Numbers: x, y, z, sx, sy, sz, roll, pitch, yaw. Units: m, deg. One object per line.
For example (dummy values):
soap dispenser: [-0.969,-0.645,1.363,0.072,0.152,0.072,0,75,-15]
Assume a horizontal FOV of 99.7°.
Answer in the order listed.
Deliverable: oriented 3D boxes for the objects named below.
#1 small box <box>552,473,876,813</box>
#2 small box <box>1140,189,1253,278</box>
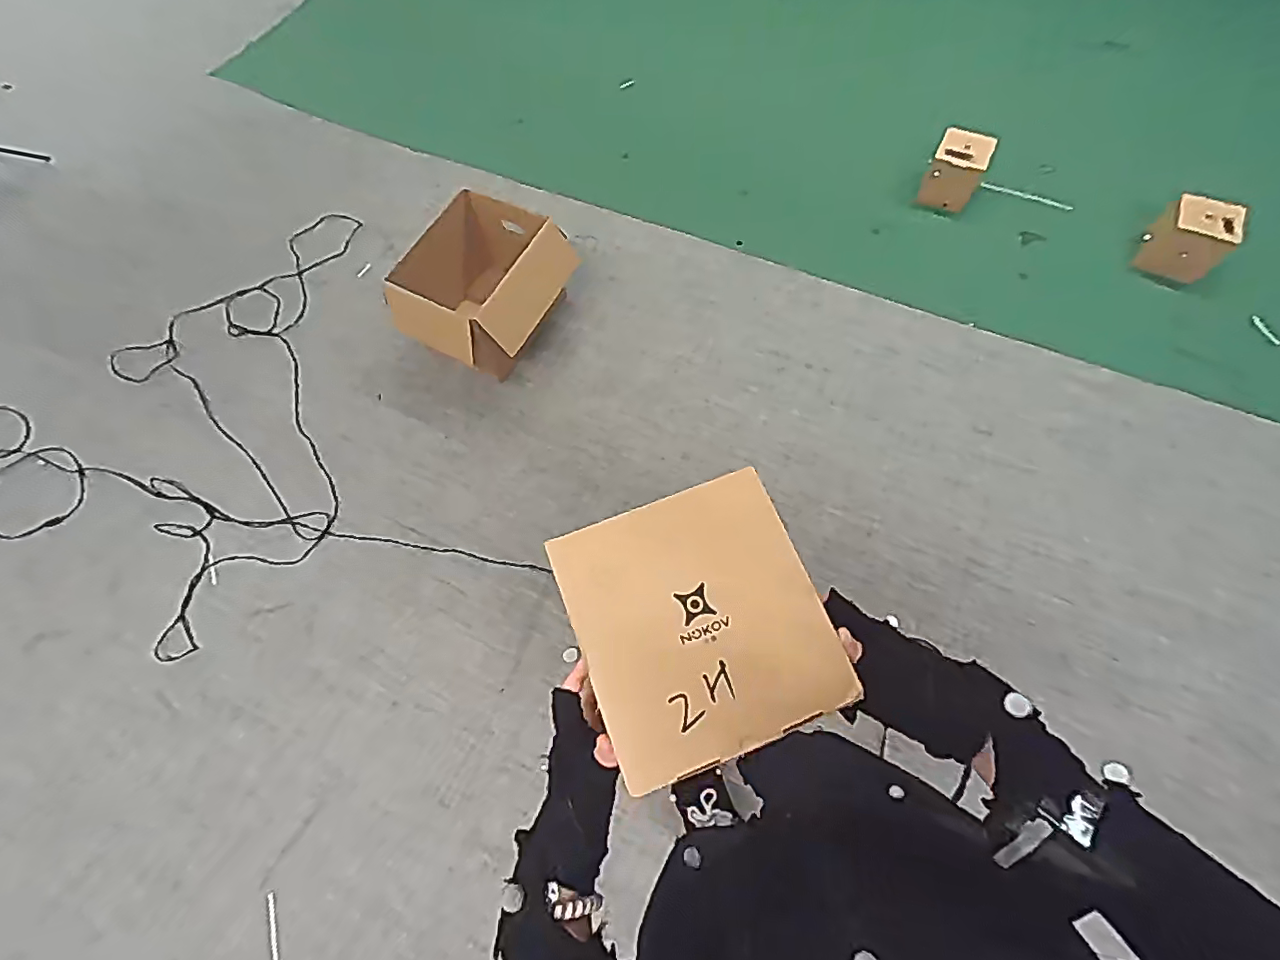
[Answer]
small box: [0.042,0.122,0.429,0.168,0.176,0.179,-20,73,-7]
small box: [1.737,-0.764,1.693,0.179,0.176,0.168,25,70,13]
